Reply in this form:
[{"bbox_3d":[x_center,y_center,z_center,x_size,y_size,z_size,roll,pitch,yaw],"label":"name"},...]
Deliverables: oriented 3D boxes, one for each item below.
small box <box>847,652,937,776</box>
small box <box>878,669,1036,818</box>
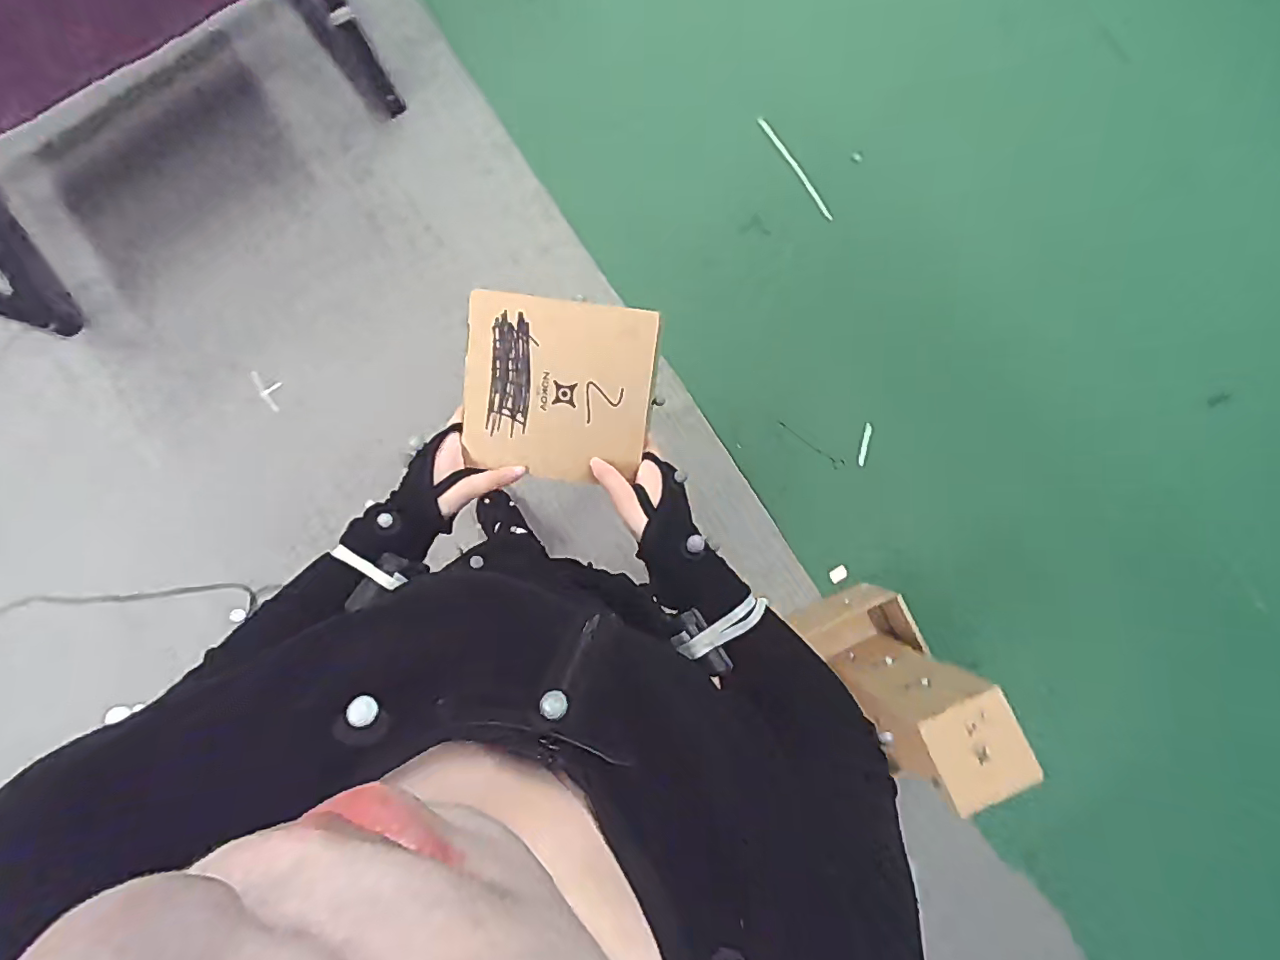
[{"bbox_3d":[0.592,0.509,1.201,0.168,0.176,0.179,-22,85,-1],"label":"small box"},{"bbox_3d":[0.594,0.492,1.037,0.168,0.176,0.179,-24,85,-2],"label":"small box"}]
